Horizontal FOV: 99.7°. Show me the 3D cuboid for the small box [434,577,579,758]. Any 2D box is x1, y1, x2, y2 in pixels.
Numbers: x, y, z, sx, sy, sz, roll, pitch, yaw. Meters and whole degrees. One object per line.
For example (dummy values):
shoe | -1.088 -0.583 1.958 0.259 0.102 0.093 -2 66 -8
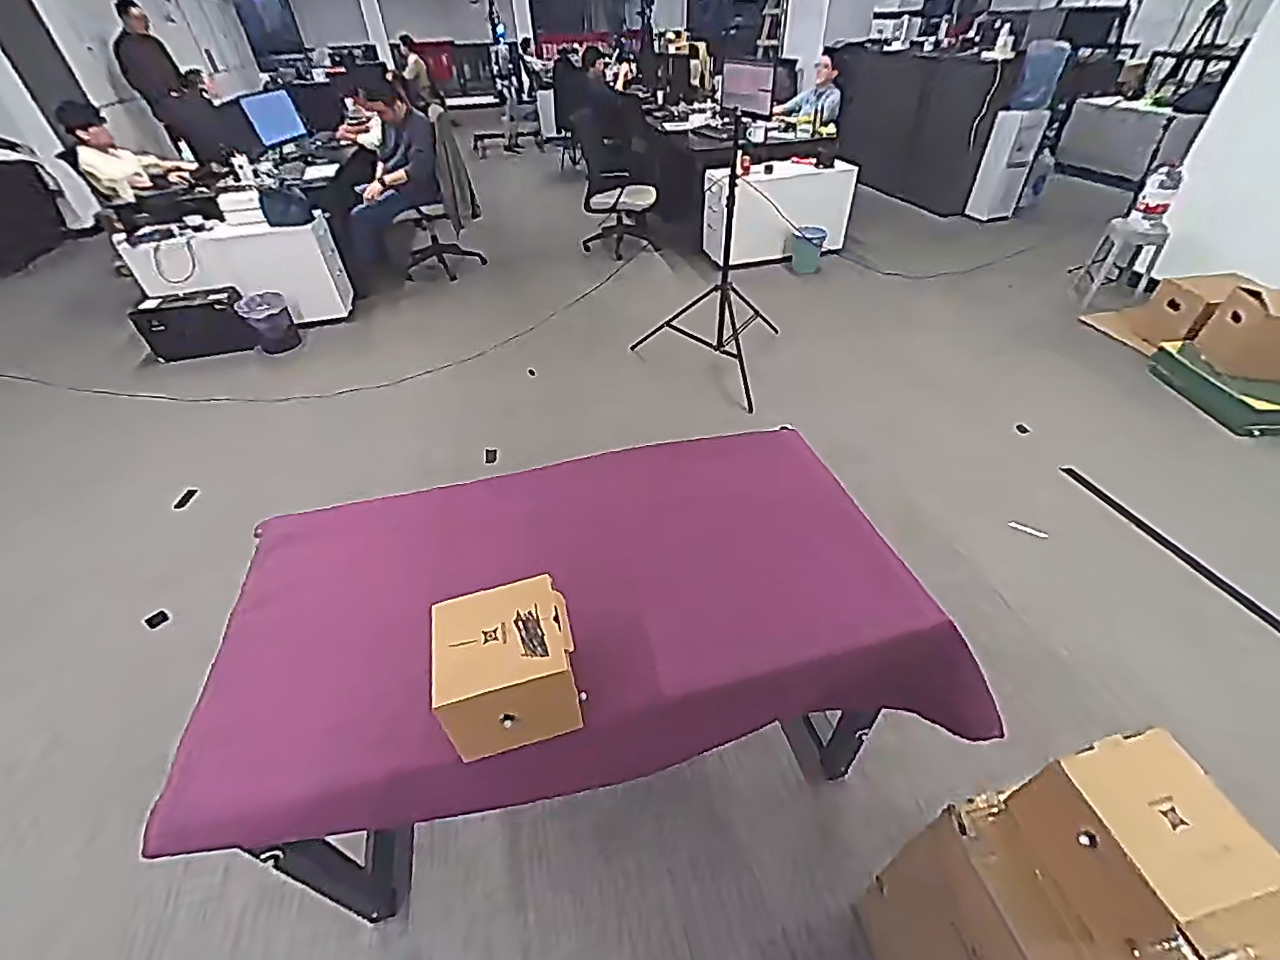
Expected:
small box | -0.191 0.275 0.796 0.179 0.176 0.168 -13 41 -10
